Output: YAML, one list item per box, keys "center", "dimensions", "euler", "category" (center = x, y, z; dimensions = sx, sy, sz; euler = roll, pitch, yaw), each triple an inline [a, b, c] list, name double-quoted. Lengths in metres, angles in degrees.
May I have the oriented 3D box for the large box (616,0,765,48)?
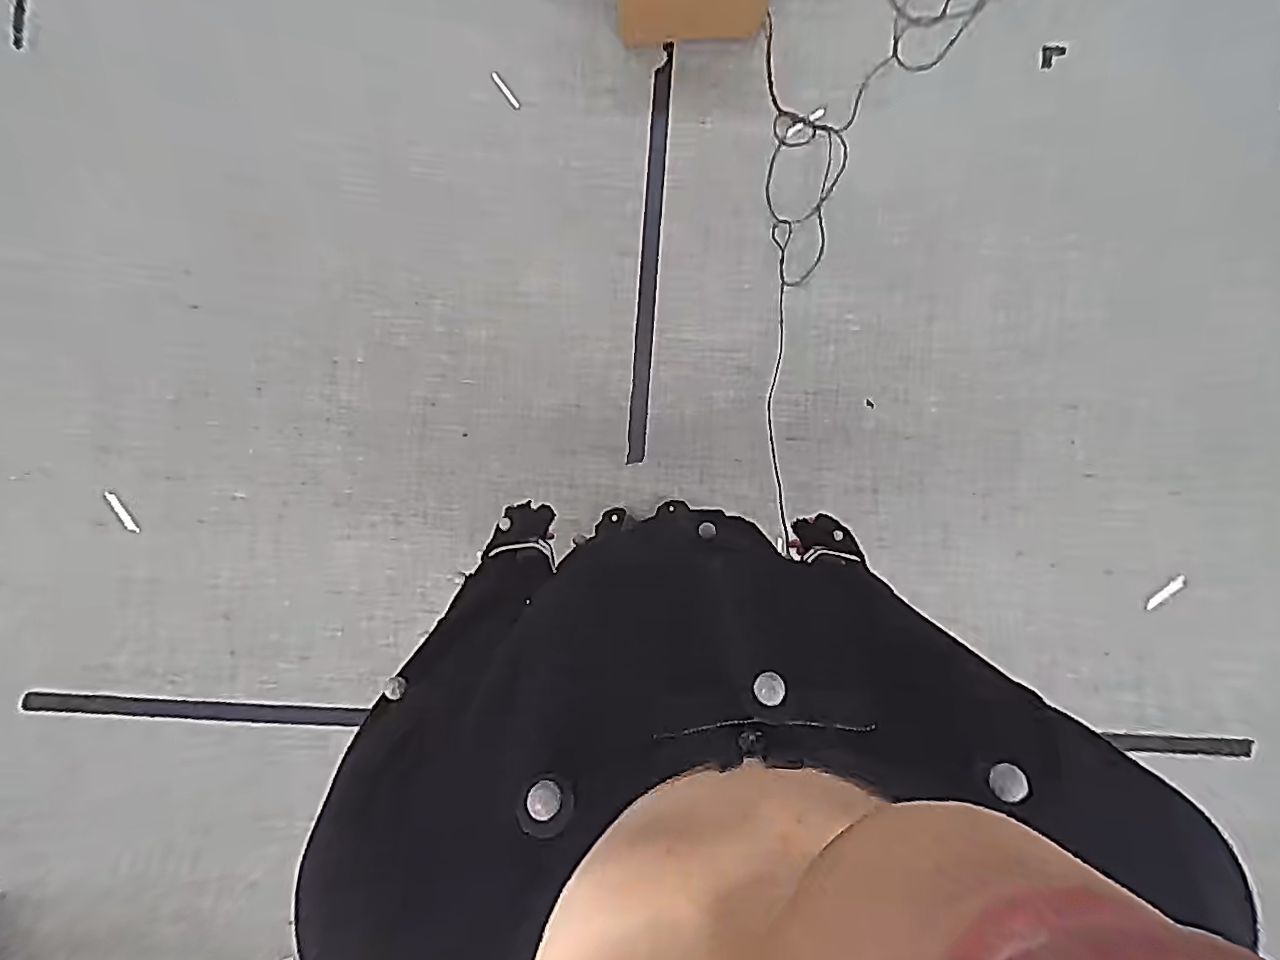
- center: [0.128, -1.423, 1.429]
  dimensions: [0.408, 0.320, 0.320]
  euler: [-5, 87, -2]
  category: "large box"
